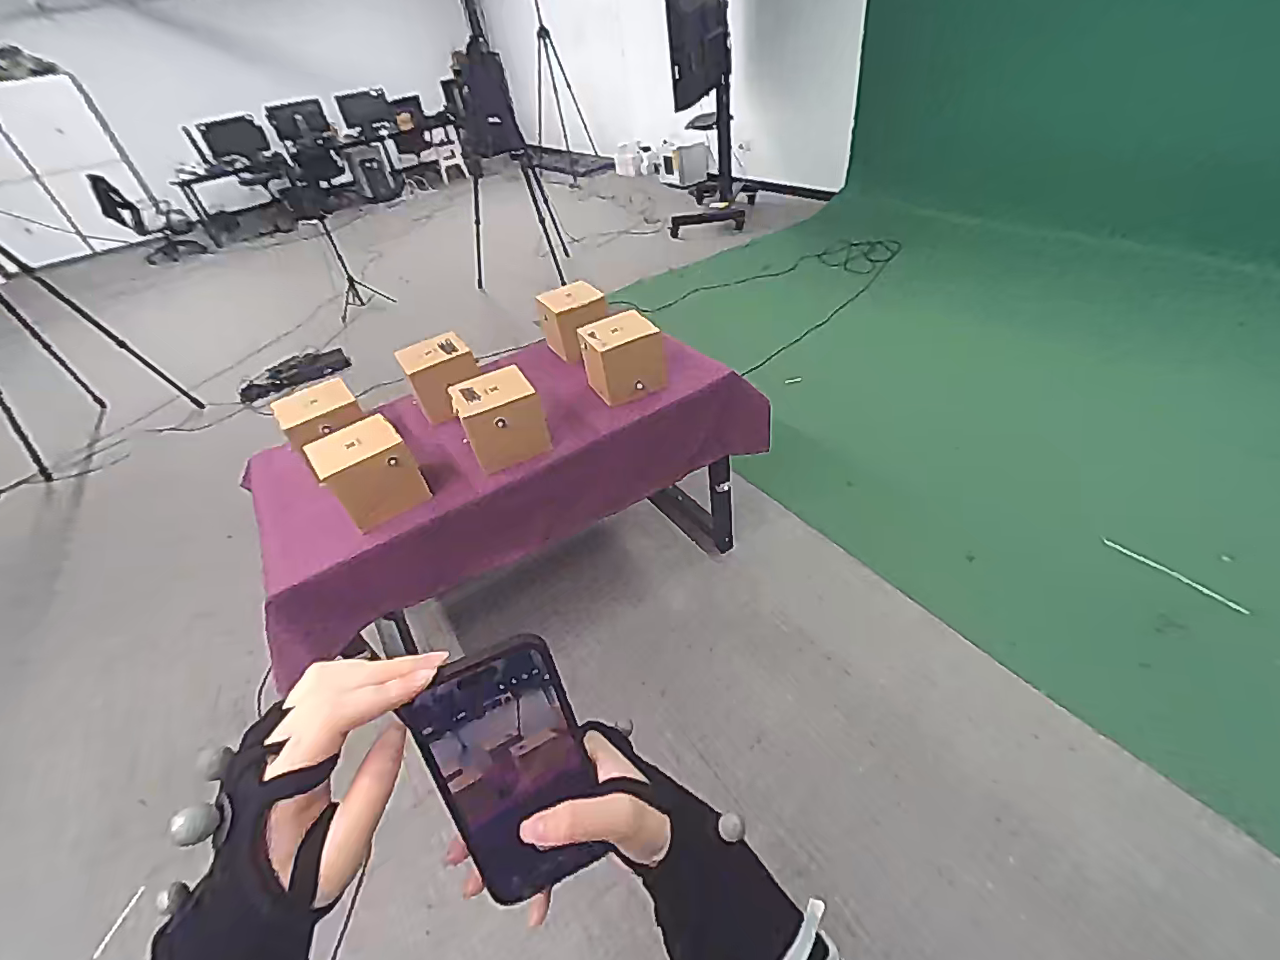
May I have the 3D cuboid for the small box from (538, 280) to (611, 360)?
[{"bbox_3d":[-0.195,-0.495,1.674,0.168,0.176,0.179,-25,44,-17],"label":"small box"}]

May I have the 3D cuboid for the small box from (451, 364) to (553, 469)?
[{"bbox_3d":[-0.331,-0.152,1.308,0.179,0.176,0.168,-23,42,-16],"label":"small box"}]

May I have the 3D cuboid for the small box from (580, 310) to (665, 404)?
[{"bbox_3d":[-0.041,-0.330,1.456,0.179,0.176,0.168,-22,42,-15],"label":"small box"}]

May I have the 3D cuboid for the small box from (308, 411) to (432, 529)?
[{"bbox_3d":[-0.600,-0.022,1.213,0.179,0.176,0.168,-31,45,-25],"label":"small box"}]
